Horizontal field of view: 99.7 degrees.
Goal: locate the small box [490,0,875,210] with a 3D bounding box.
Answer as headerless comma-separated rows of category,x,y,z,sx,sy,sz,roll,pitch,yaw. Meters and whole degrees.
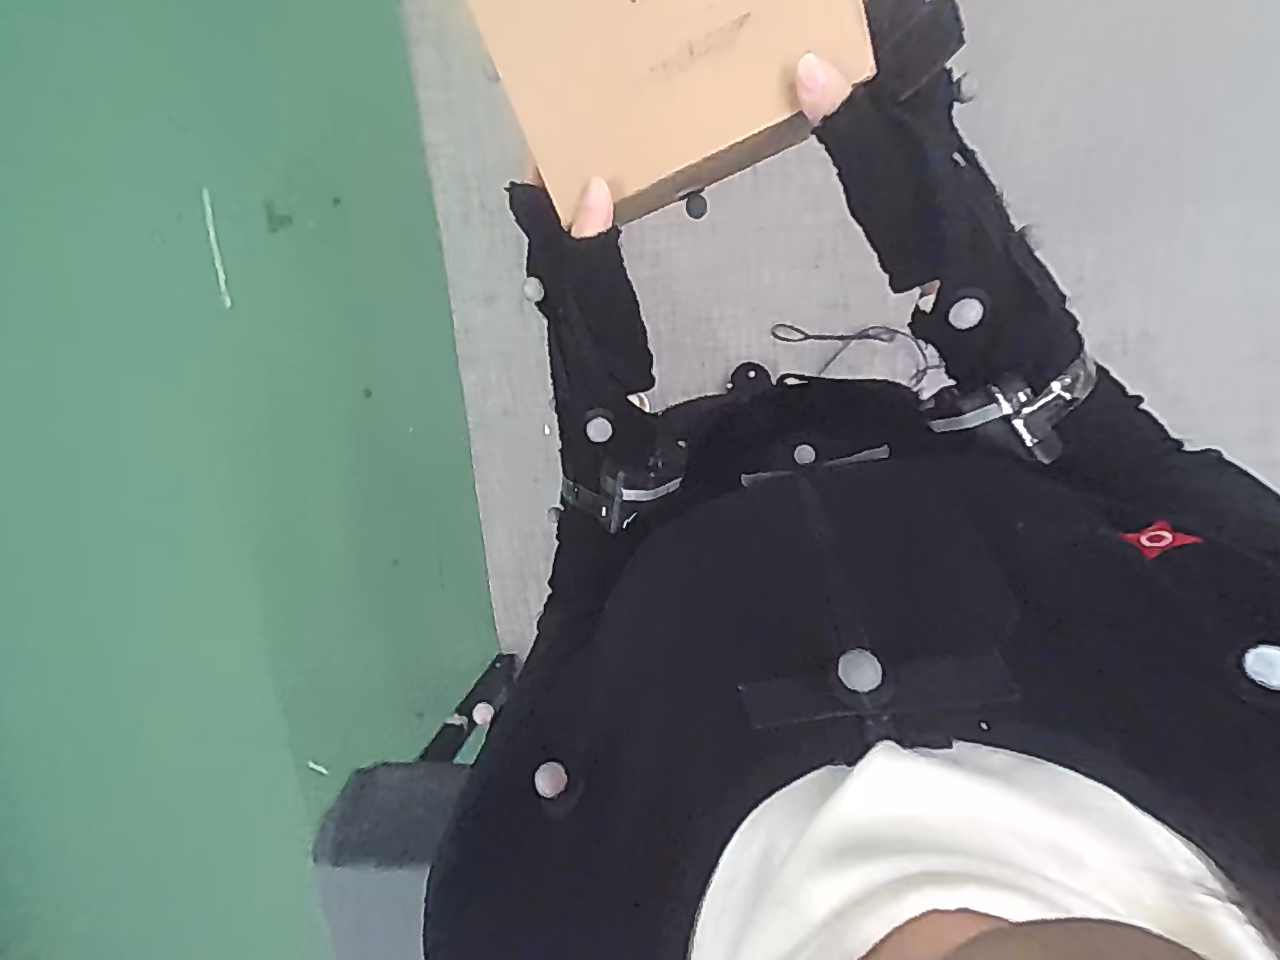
small box,0.013,-0.281,0.316,0.168,0.176,0.179,-18,110,14
